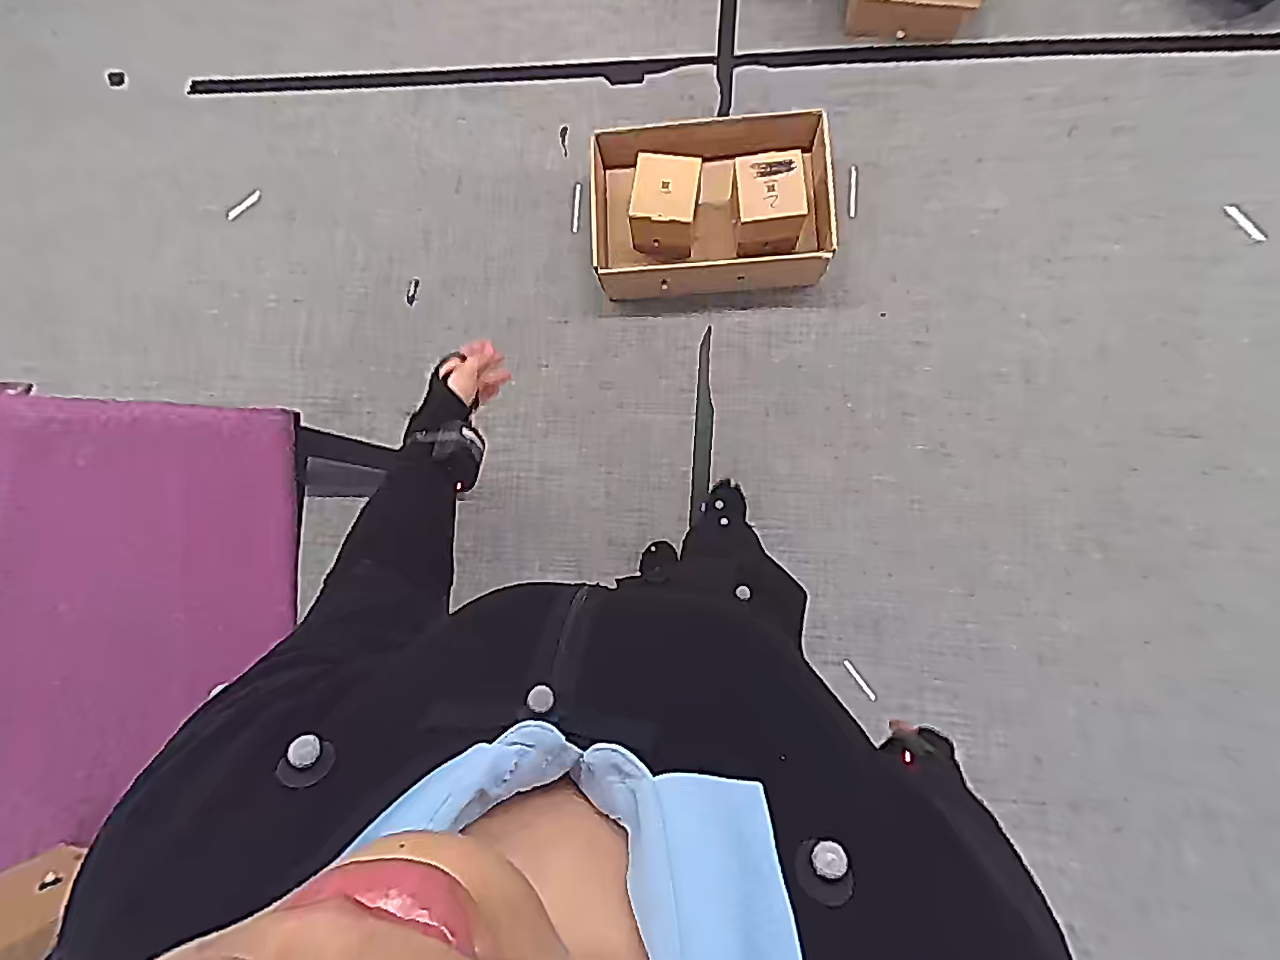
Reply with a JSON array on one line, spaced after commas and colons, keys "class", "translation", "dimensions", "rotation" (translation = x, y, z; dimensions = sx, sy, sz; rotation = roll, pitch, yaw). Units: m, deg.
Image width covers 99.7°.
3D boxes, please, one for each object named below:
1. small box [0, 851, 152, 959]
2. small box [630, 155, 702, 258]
[{"class": "small box", "translation": [-0.812, 0.638, 0.723], "dimensions": [0.168, 0.176, 0.179], "rotation": [3, 85, 7]}, {"class": "small box", "translation": [0.071, -0.730, 1.453], "dimensions": [0.168, 0.176, 0.179], "rotation": [8, 85, 5]}]
